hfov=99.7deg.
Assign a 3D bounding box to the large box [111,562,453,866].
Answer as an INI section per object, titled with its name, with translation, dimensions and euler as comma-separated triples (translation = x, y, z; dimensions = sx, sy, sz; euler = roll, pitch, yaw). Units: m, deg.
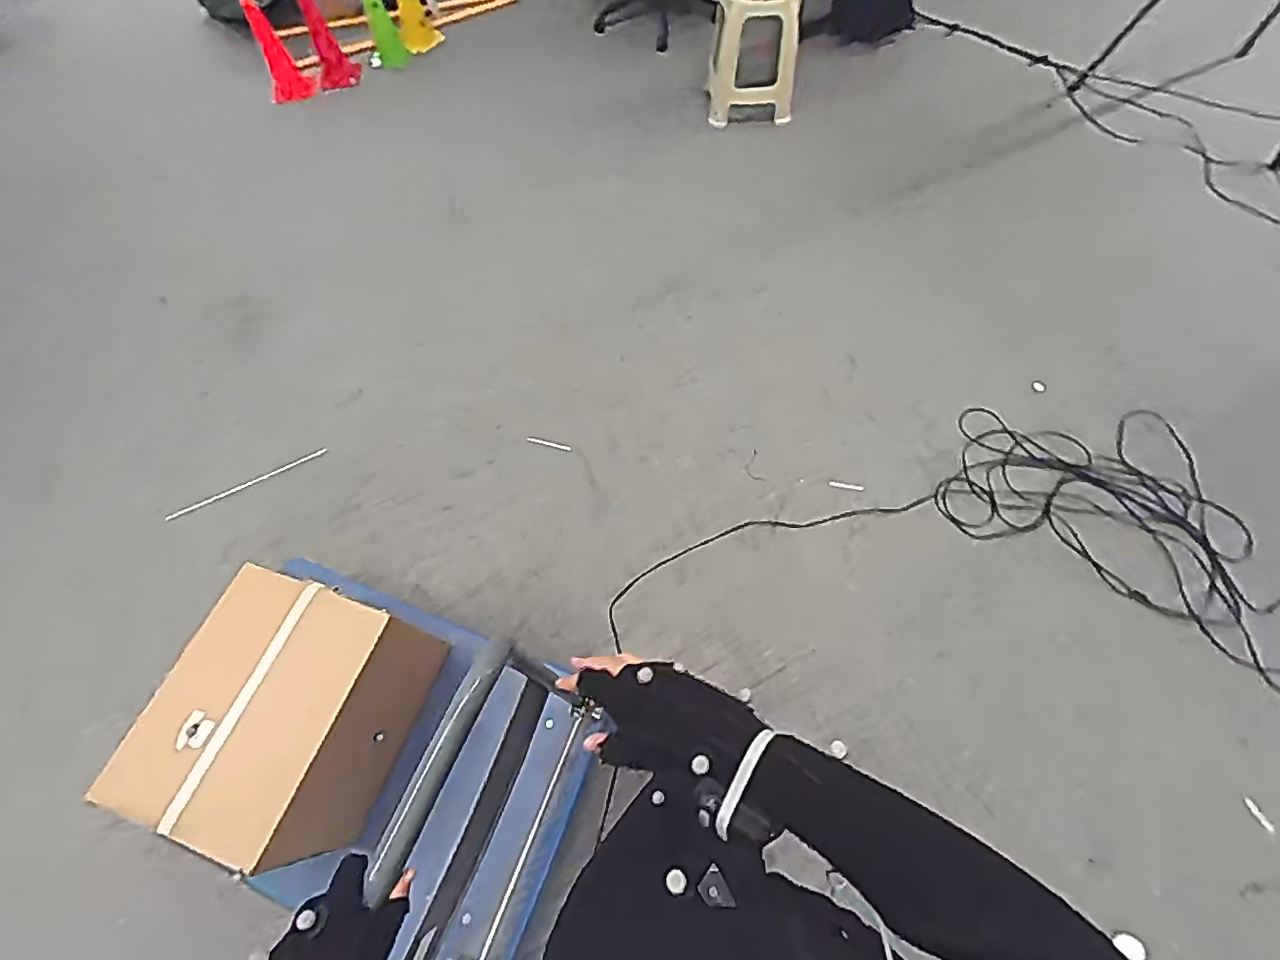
[large box]
translation = -0.623, 0.425, 1.037
dimensions = 0.320, 0.320, 0.408
euler = 16, 66, 10
